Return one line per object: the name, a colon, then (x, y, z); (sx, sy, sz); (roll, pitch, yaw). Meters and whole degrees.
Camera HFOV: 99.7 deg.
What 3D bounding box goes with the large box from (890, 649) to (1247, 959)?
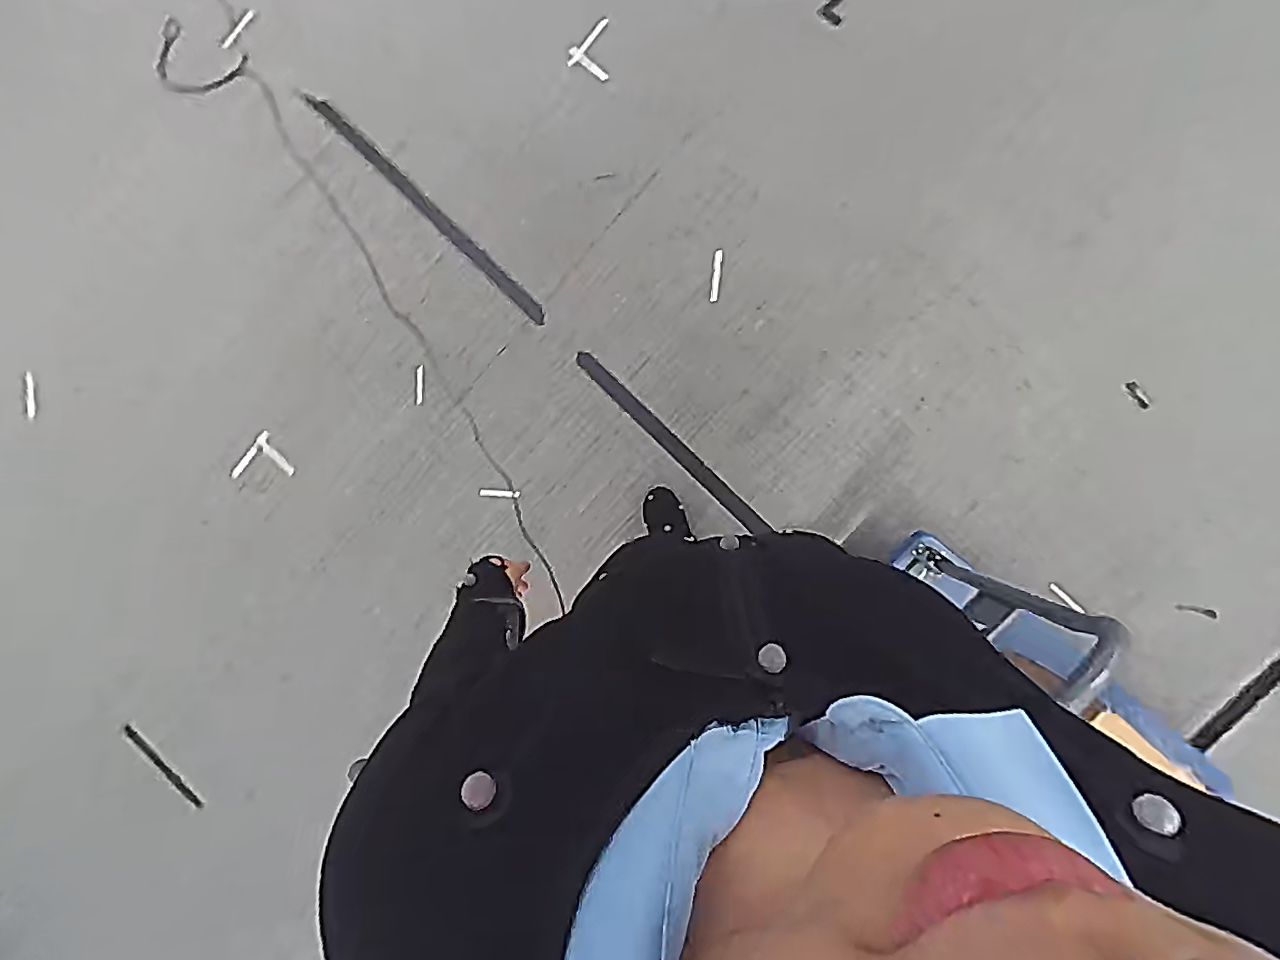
large box: (0.798, 0.625, 1.083); (0.320, 0.320, 0.408); (42, 95, 4)
